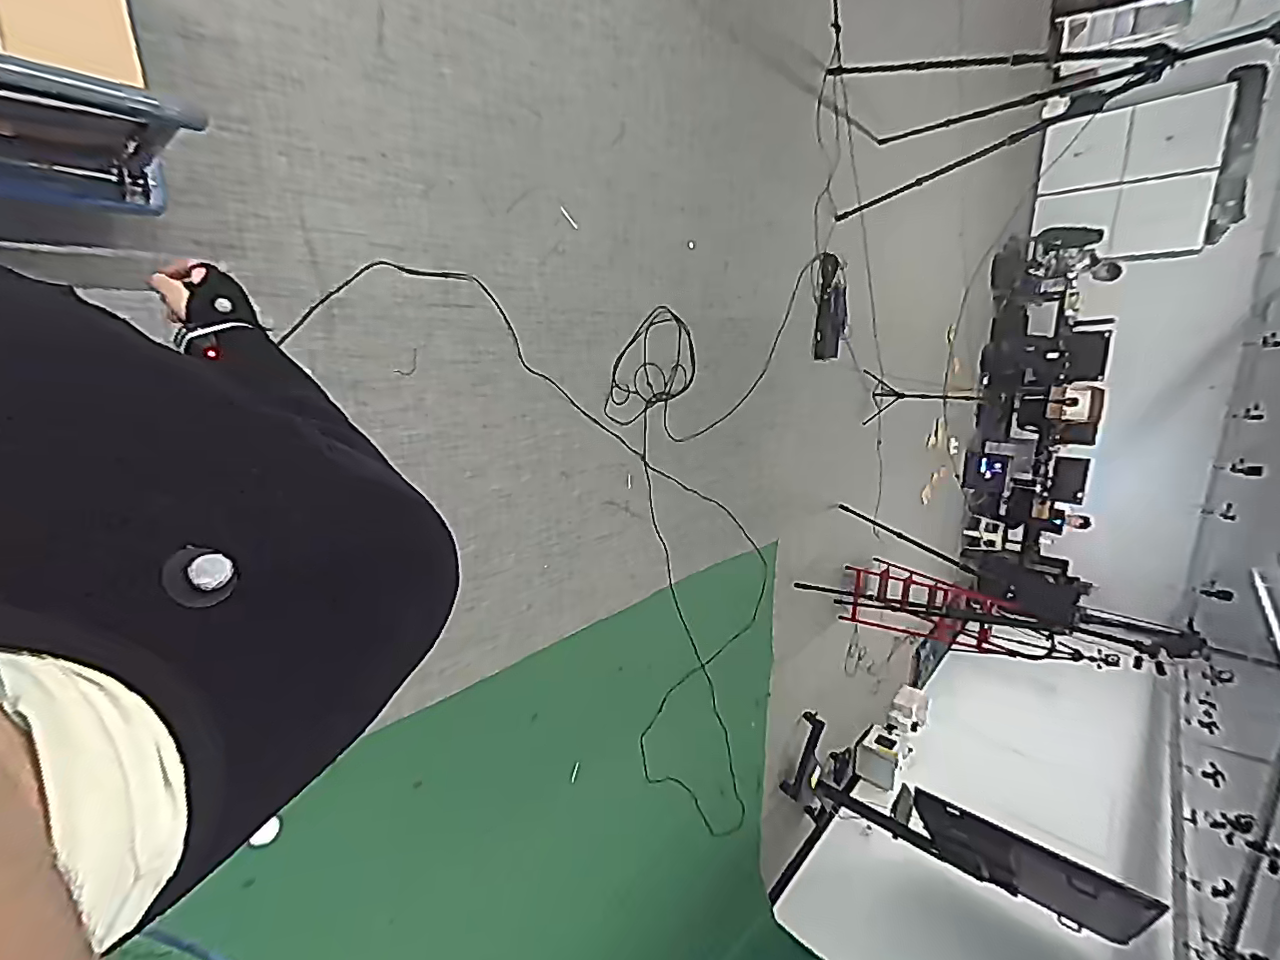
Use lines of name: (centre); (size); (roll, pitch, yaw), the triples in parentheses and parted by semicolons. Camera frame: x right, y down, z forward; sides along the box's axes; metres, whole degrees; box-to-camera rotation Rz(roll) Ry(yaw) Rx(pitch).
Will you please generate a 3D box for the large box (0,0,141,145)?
large box: (-0.979, -0.763, 0.767); (0.320, 0.320, 0.408); (-17, 111, -45)
